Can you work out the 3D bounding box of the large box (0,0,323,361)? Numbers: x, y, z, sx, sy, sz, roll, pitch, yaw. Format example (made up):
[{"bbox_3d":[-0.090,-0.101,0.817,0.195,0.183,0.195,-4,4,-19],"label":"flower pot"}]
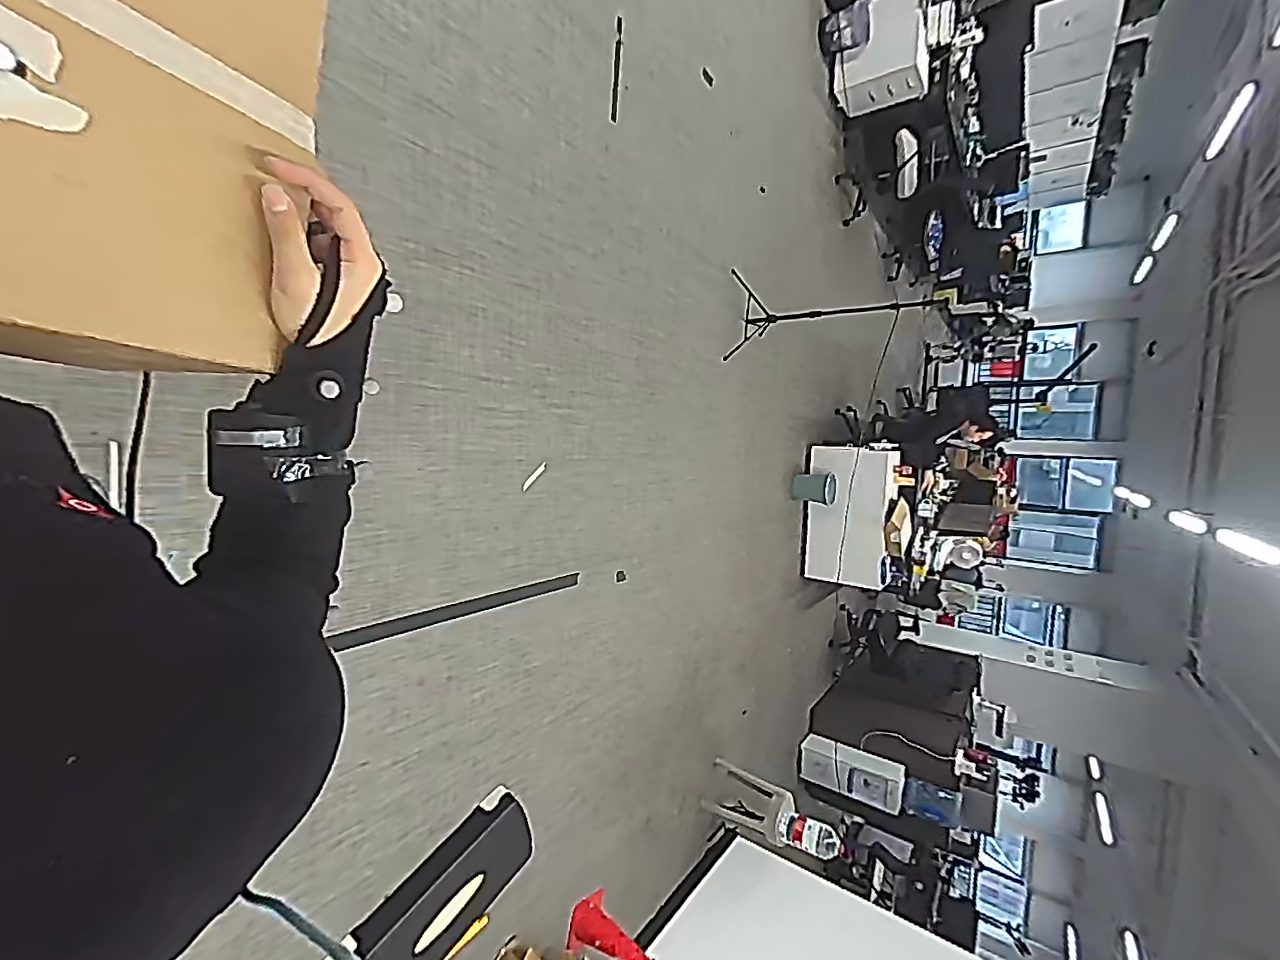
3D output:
[{"bbox_3d":[-0.451,-0.252,0.264,0.408,0.320,0.320,4,93,-61],"label":"large box"}]
